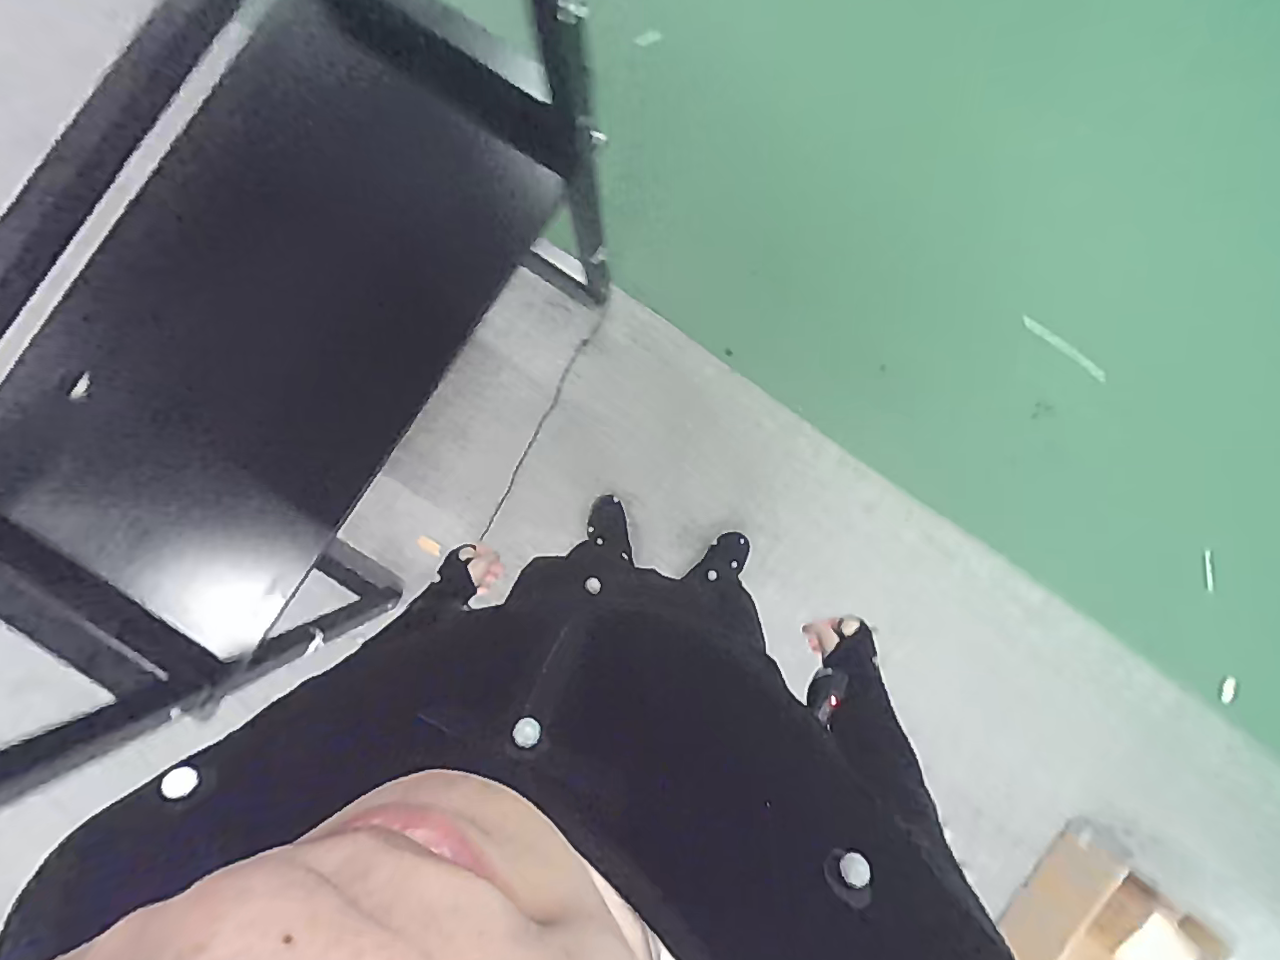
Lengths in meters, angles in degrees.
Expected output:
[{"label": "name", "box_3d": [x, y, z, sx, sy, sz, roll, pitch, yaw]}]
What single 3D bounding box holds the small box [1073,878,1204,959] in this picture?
[{"label": "small box", "box_3d": [1.382, 1.270, 1.513, 0.168, 0.176, 0.179, -43, 91, -1]}]
